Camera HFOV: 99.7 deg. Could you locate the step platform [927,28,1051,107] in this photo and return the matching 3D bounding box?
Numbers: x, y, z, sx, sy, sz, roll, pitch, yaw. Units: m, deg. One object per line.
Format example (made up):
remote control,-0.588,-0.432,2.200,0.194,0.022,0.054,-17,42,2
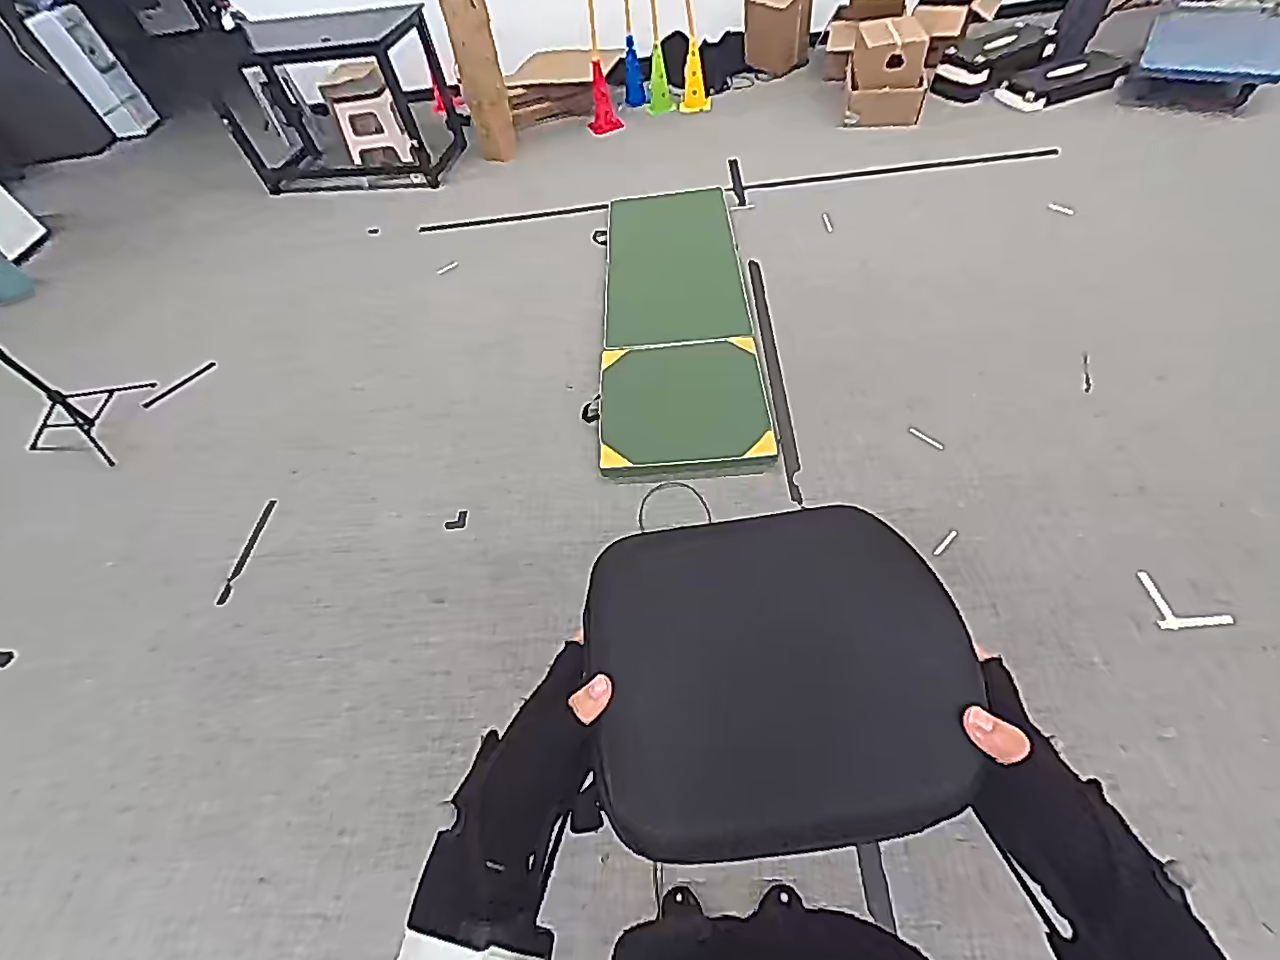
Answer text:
step platform,2.068,-2.454,3.209,0.684,0.204,0.286,-28,56,-12
